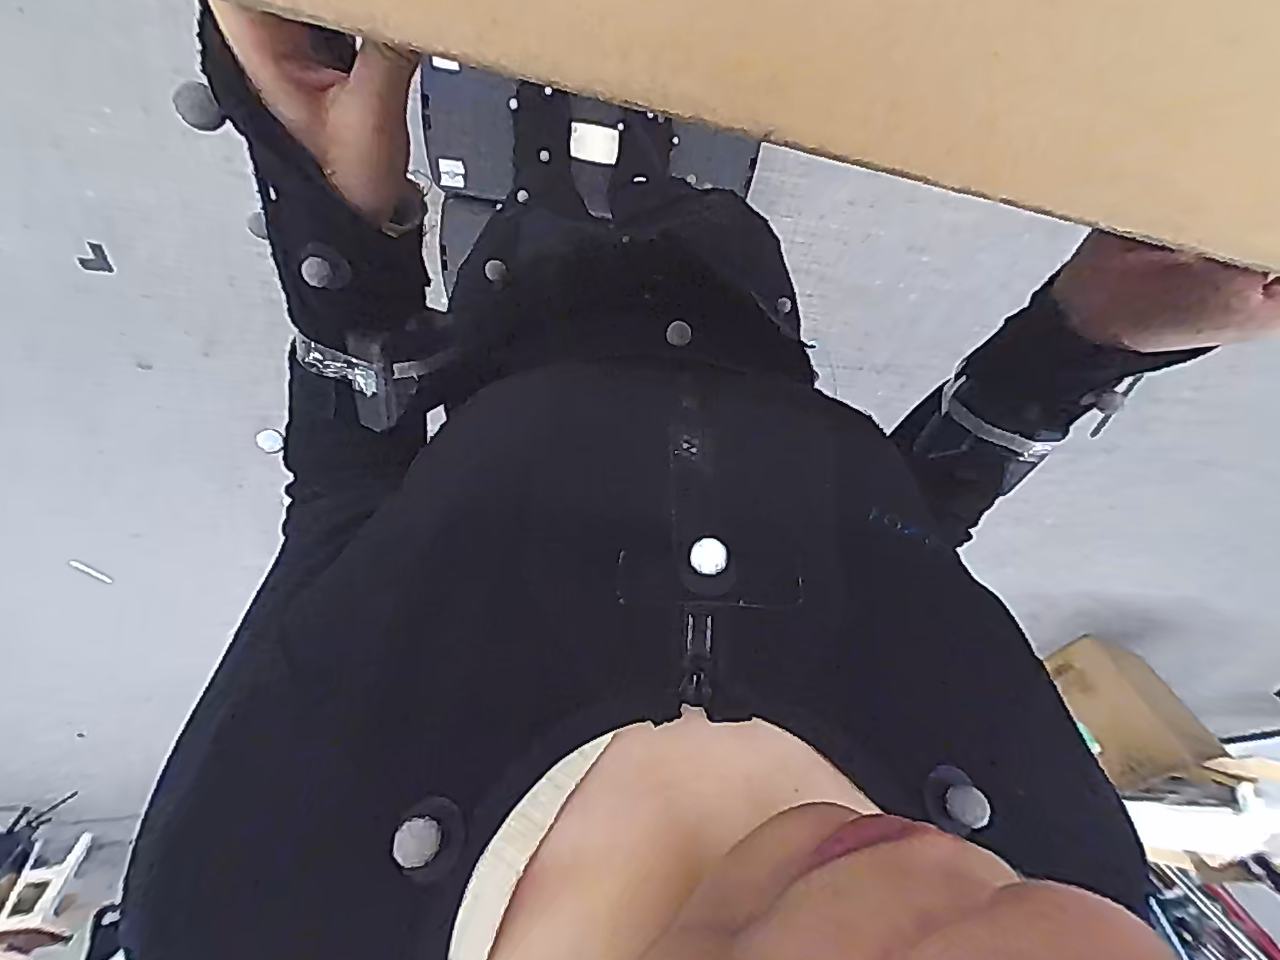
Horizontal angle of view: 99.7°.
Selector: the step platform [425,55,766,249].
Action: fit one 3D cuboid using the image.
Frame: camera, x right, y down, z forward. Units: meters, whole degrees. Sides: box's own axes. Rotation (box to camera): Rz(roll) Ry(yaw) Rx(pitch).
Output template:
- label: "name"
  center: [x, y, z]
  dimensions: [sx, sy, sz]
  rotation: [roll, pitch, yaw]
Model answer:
- label: "step platform"
  center: [-0.088, -0.720, 1.142]
  dimensions: [0.684, 0.204, 0.286]
  rotation: [8, 128, -13]
